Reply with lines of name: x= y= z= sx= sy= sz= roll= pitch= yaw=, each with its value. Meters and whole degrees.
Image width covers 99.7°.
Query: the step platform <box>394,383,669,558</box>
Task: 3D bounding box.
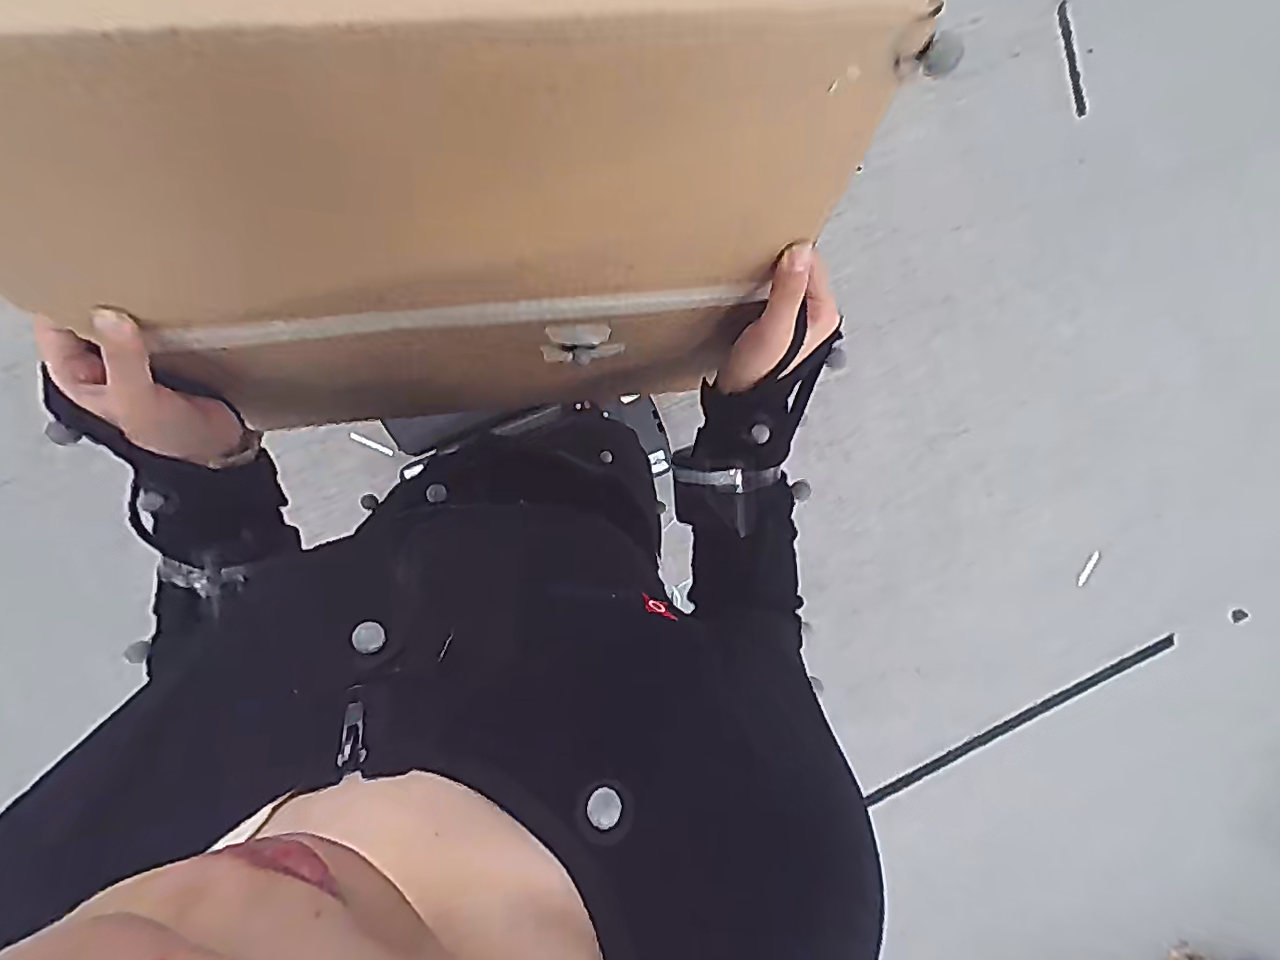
step platform: x=-0.269 y=-0.031 z=1.423 sx=0.684 sy=0.204 sz=0.286 roll=-18 pitch=100 yaw=-4

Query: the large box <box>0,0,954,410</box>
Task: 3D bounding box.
large box: x=-0.111 y=-0.262 z=0.328 sx=0.408 sy=0.320 sz=0.320 roll=-7 pitch=77 yaw=-5
